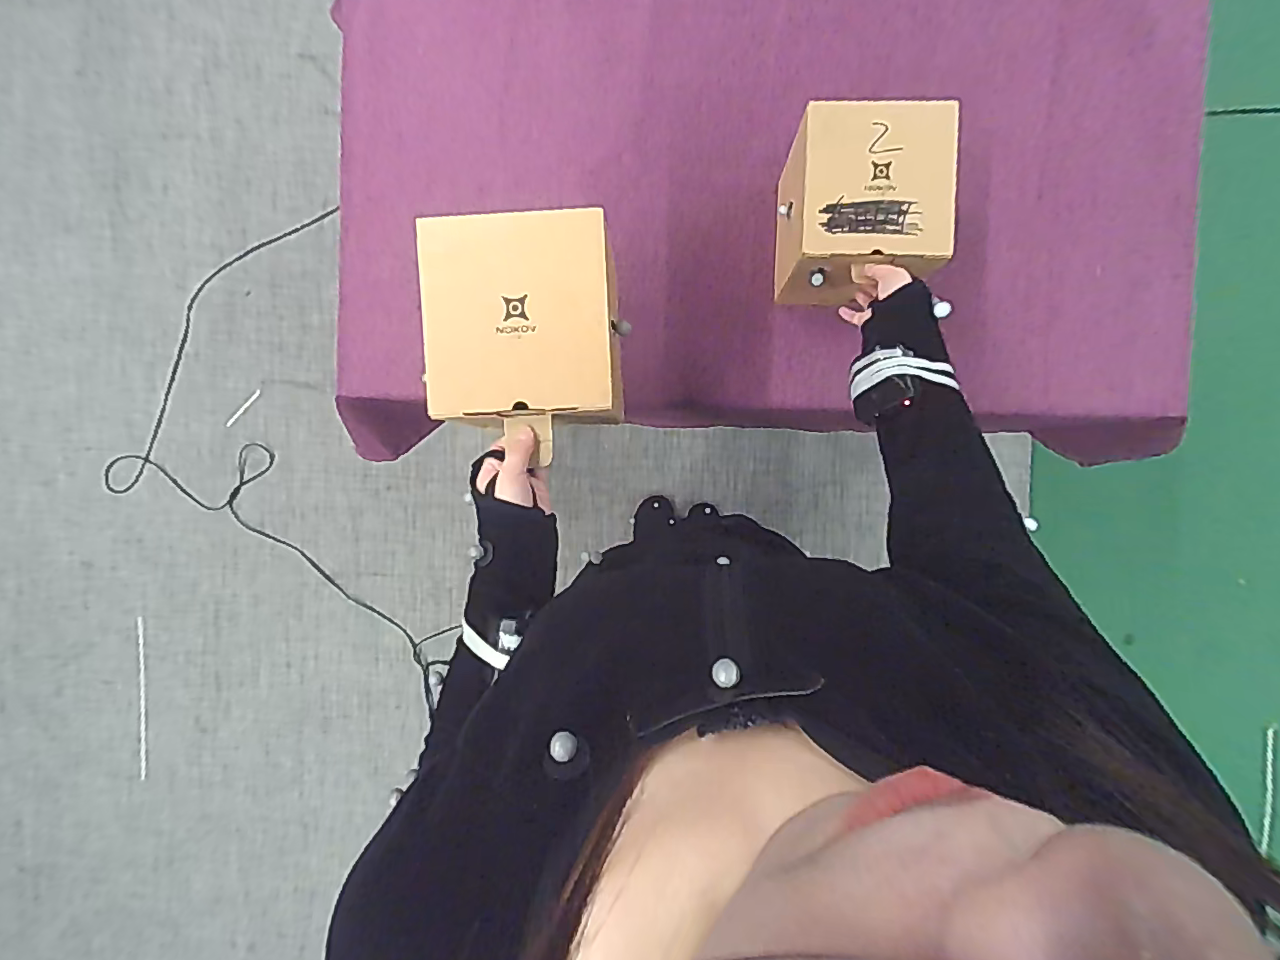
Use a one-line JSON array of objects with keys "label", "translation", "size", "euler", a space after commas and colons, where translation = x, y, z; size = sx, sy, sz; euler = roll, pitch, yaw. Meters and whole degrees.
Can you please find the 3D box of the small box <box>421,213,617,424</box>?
[{"label": "small box", "translation": [-0.112, -0.154, 0.567], "size": [0.168, 0.176, 0.179], "euler": [-3, 93, 1]}]
